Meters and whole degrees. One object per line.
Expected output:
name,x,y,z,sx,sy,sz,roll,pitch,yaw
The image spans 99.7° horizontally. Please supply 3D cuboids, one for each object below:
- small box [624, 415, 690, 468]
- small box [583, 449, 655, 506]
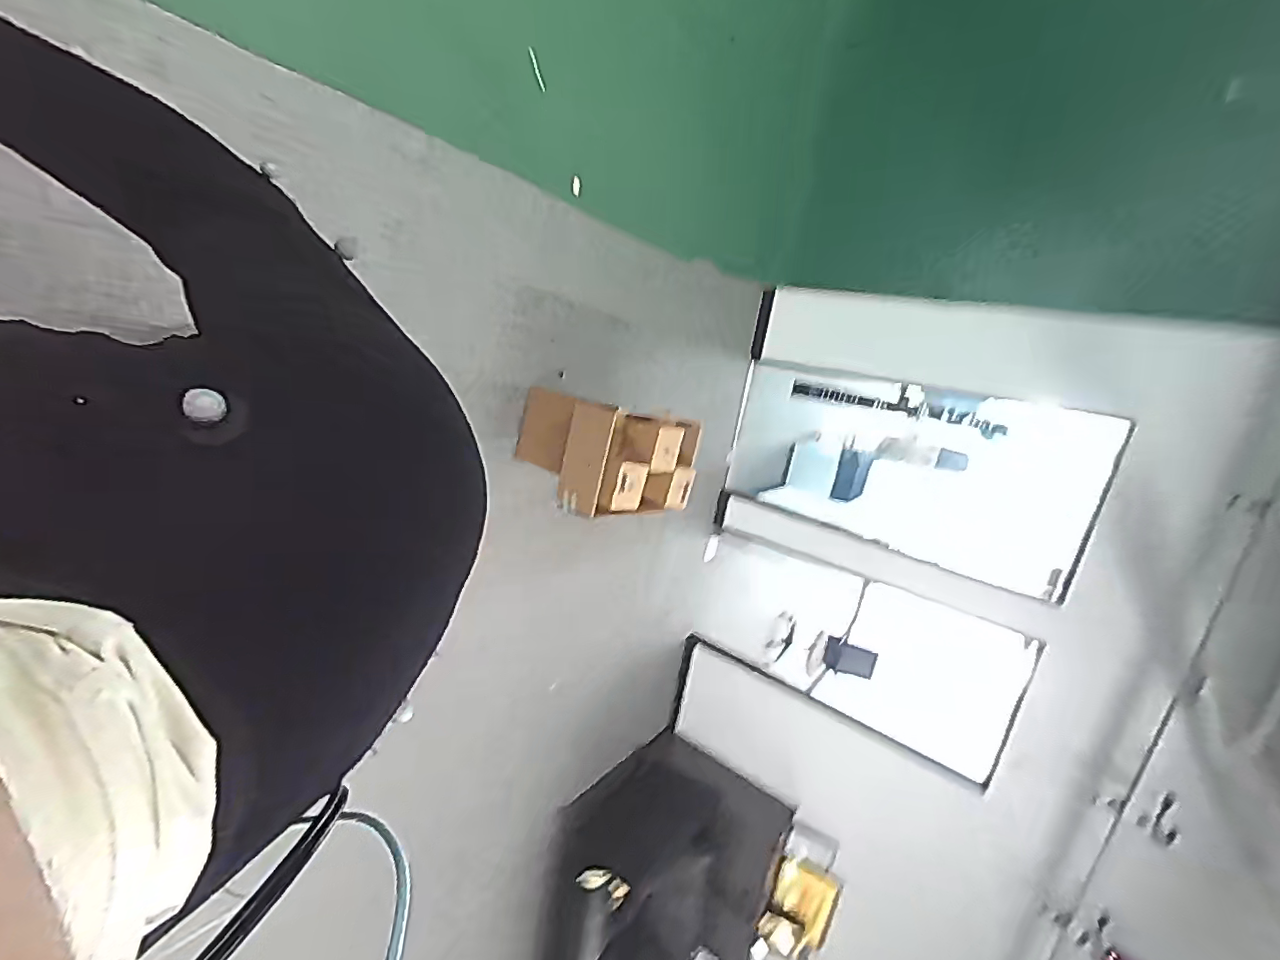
small box,0.062,-0.150,2.074,0.179,0.176,0.168,-1,108,-54
small box,-0.079,-0.011,1.948,0.179,0.176,0.168,4,104,-55
